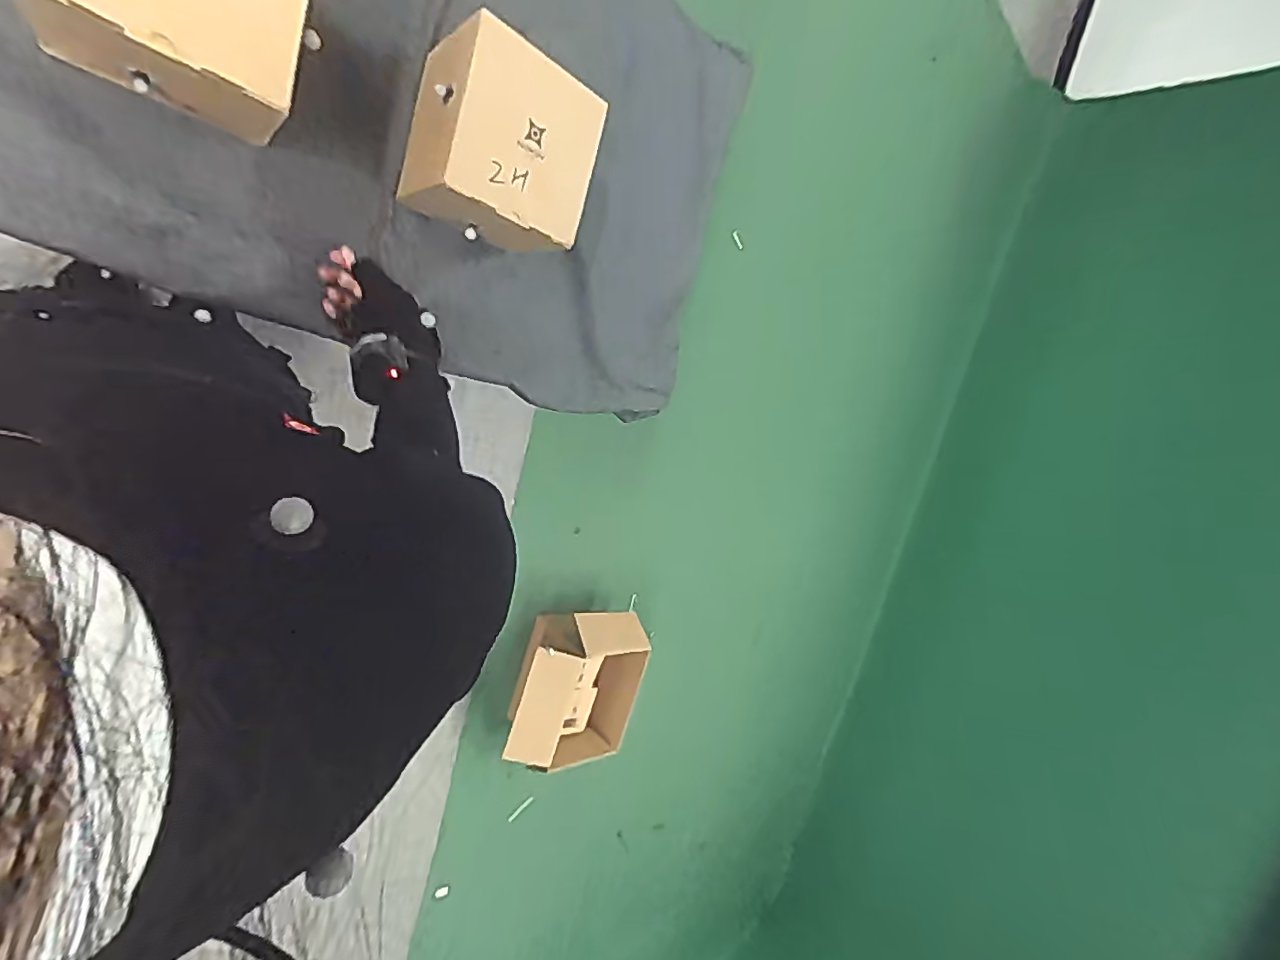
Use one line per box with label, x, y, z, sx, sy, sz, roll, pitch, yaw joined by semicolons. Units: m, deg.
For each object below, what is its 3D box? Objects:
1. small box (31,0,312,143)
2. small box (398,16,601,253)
small box;-0.394;-0.429;0.463;0.168;0.176;0.179;8;101;-44
small box;-0.178;-0.400;0.666;0.168;0.176;0.179;10;99;-43
